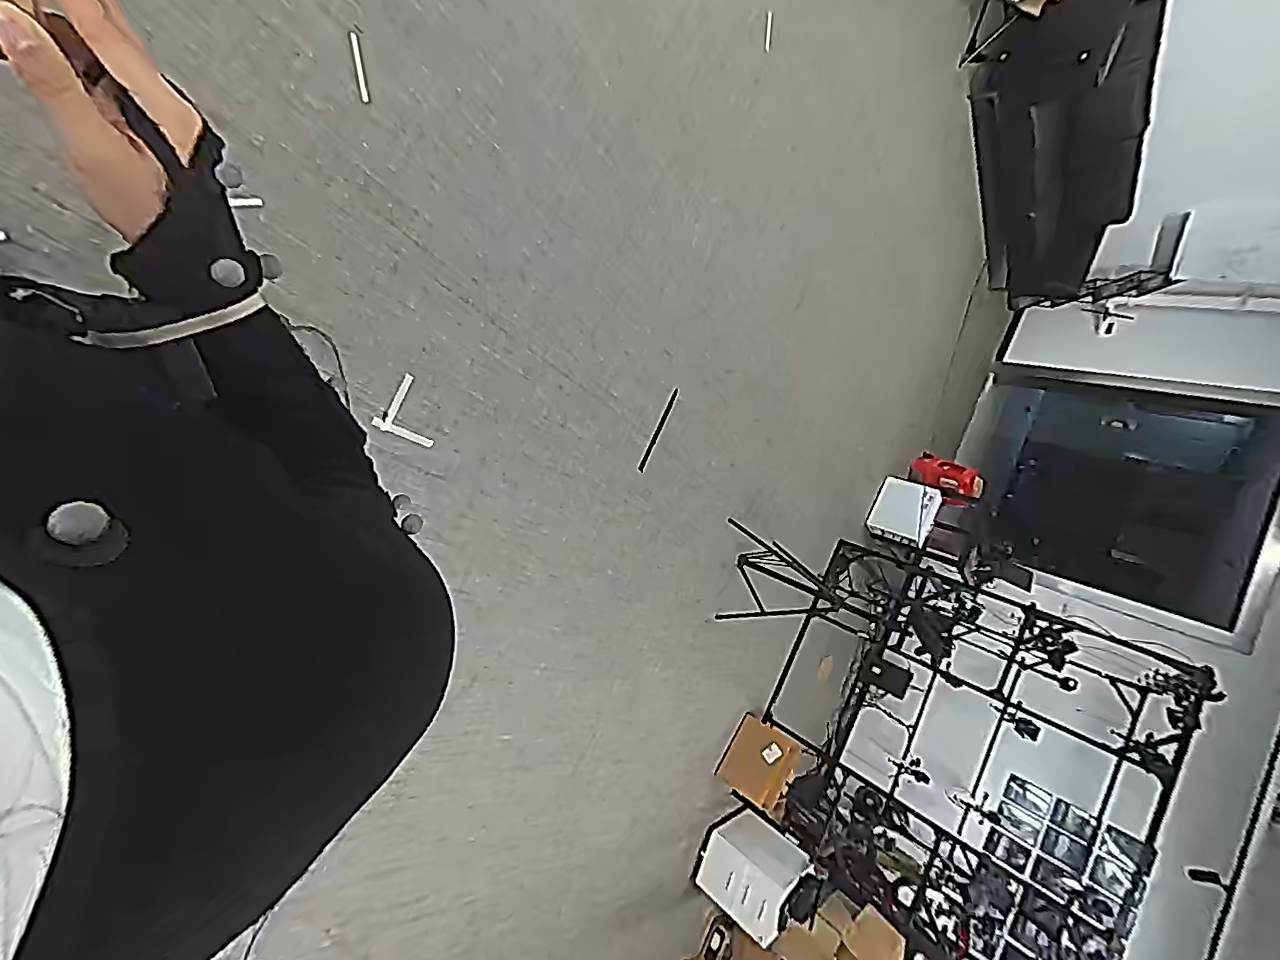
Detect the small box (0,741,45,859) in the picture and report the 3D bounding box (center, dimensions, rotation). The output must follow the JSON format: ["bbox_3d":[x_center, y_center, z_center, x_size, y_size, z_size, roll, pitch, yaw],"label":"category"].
[{"bbox_3d":[-1.192,0.567,0.927,0.168,0.176,0.179,-60,141,-10],"label":"small box"}]
